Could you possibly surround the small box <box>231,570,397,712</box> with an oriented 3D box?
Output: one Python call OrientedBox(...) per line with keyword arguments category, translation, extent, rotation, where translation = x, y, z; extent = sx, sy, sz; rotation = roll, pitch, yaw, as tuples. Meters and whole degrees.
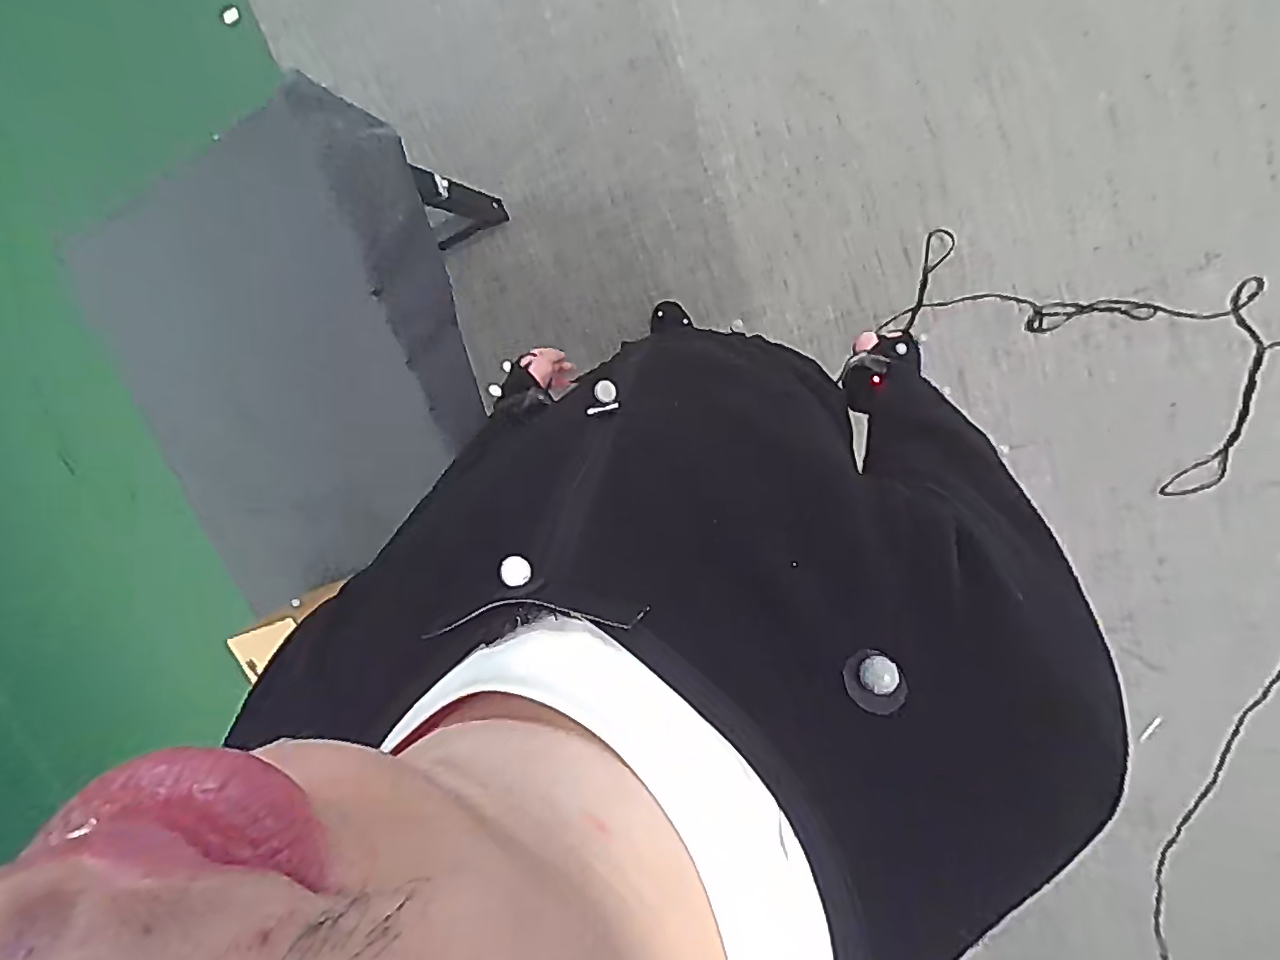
OrientedBox(category="small box", translation=(-0.586, 0.290, 1.002), extent=(0.179, 0.176, 0.168), rotation=(-23, 102, 19))
